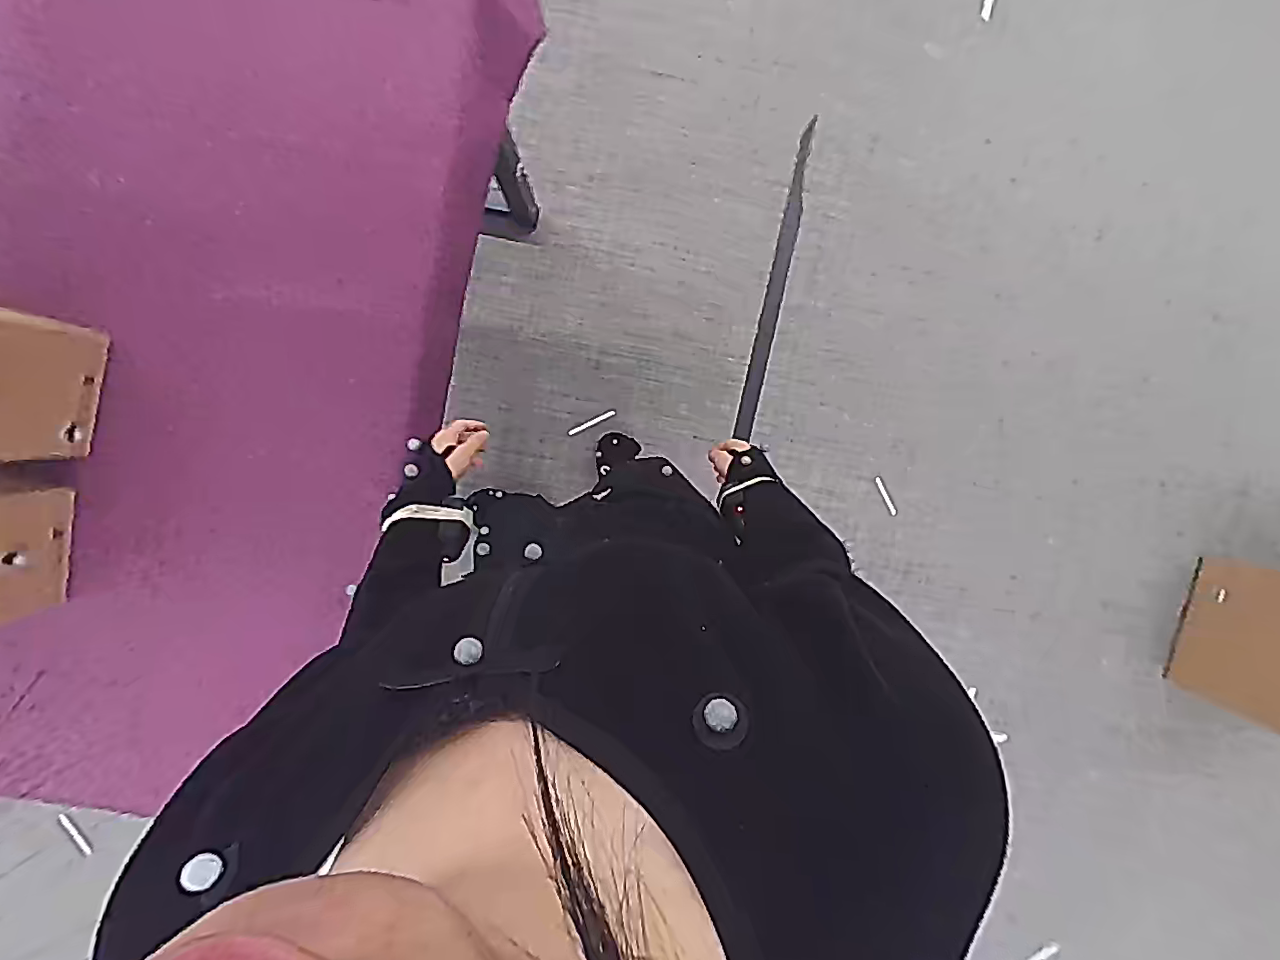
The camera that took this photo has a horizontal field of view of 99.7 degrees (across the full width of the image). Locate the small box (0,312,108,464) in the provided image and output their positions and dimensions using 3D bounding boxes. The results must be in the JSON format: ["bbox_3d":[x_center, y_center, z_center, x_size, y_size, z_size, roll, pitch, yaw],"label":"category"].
[{"bbox_3d":[-0.798,-0.119,0.639,0.179,0.176,0.168,15,94,-5],"label":"small box"}]
